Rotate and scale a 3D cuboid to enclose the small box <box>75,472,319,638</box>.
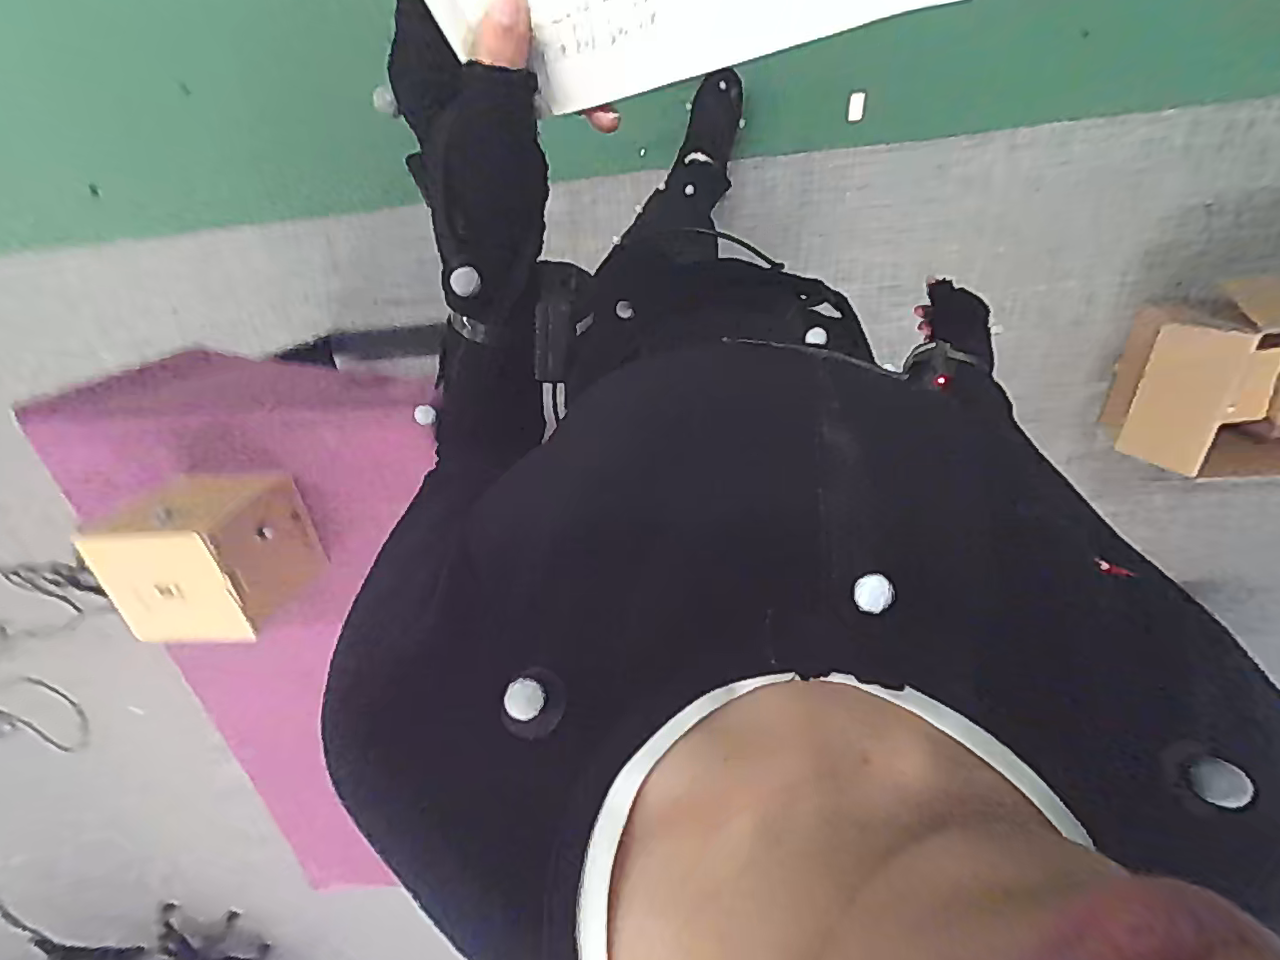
[{"bbox_3d":[-0.580,0.097,0.745,0.179,0.176,0.168,-2,117,5],"label":"small box"}]
